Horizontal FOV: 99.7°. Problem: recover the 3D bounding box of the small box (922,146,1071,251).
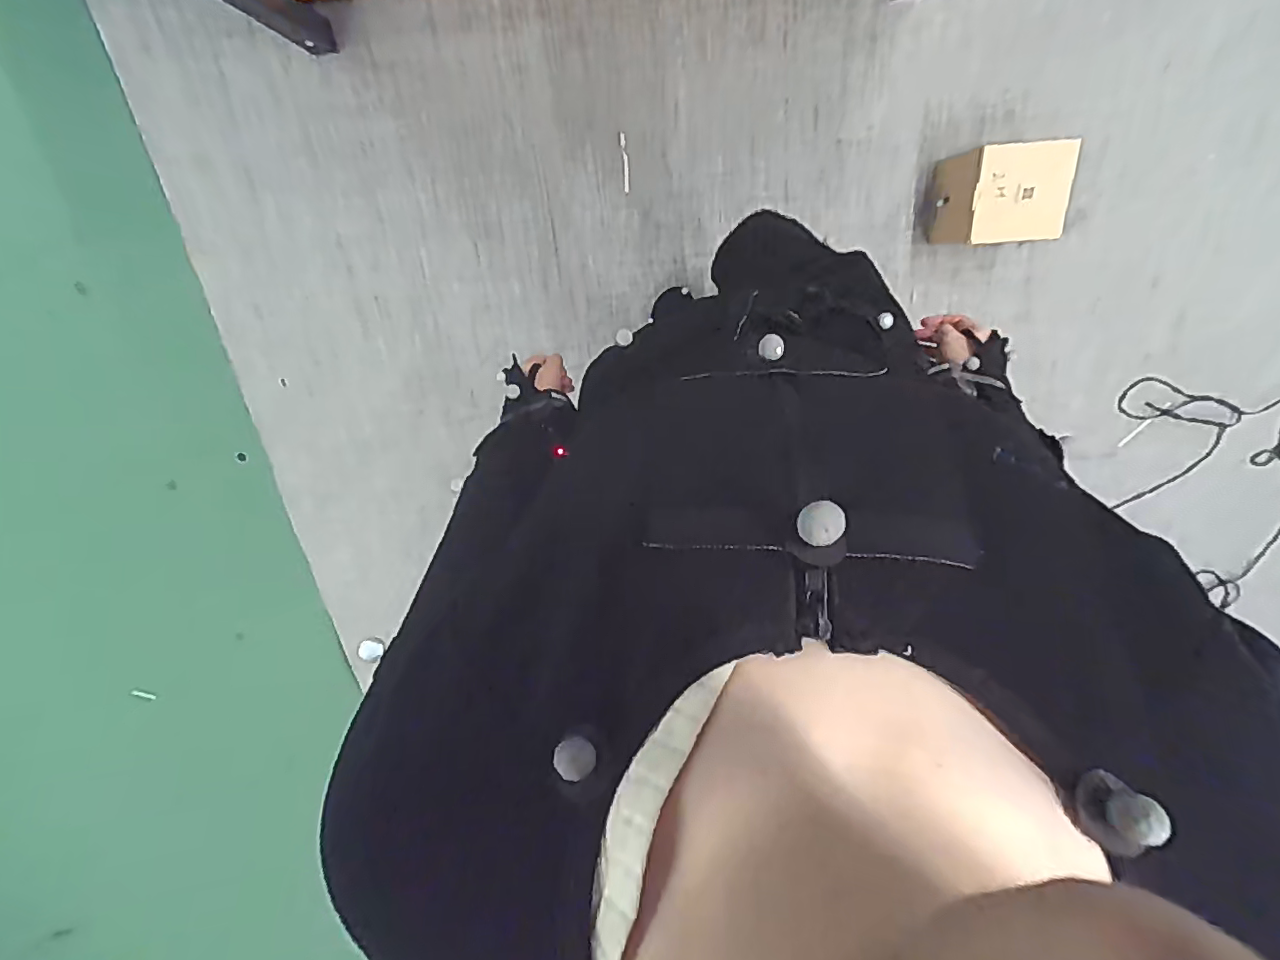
[{"bbox_3d":[0.700,-0.555,1.083,0.179,0.176,0.168,-4,111,2],"label":"small box"}]
